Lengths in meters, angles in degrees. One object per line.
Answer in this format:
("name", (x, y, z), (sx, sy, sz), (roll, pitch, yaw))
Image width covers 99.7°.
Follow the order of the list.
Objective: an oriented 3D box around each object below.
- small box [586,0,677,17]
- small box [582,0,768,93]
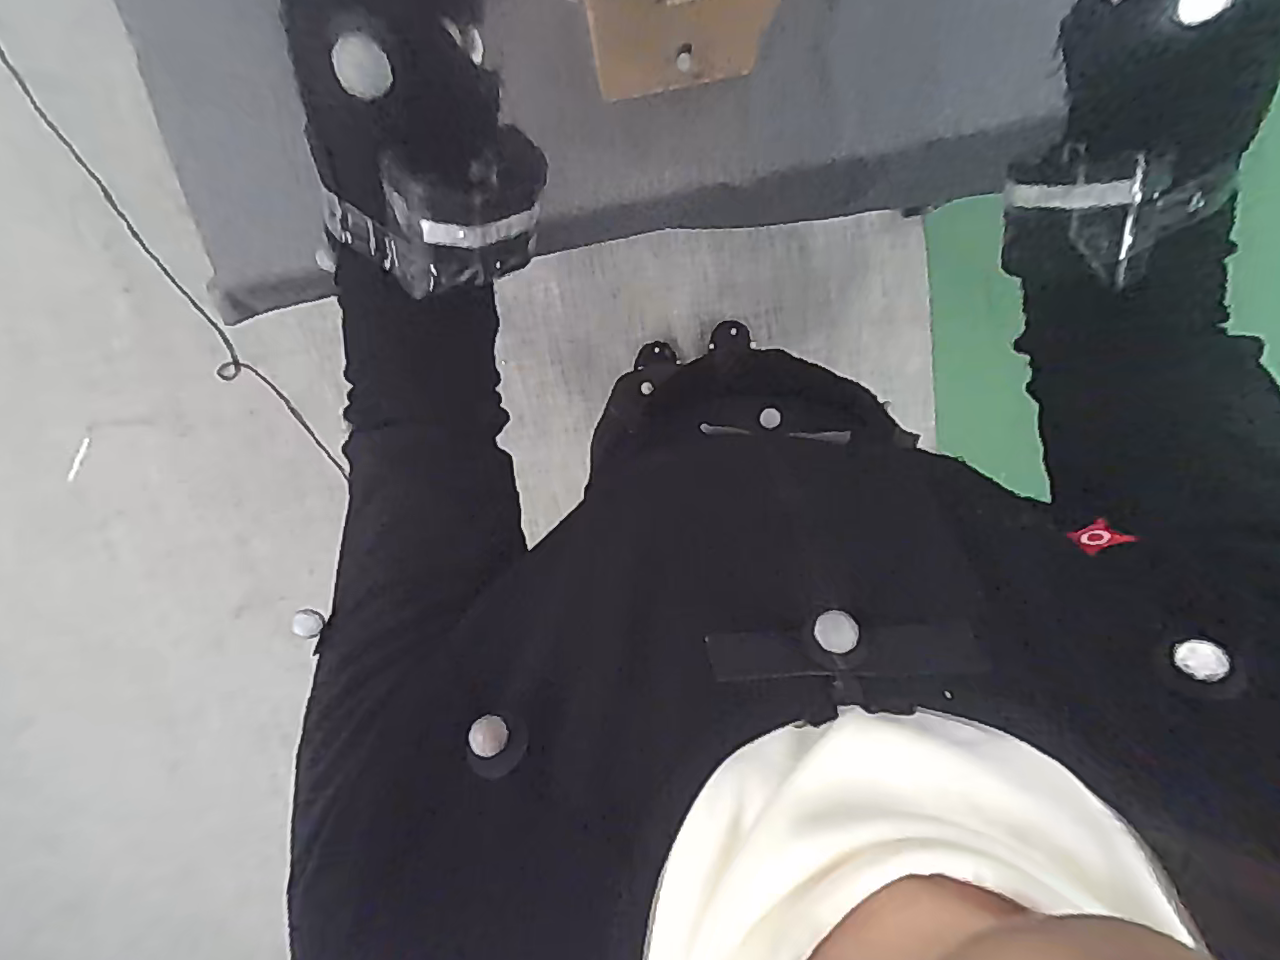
("small box", (0.030, -0.441, 0.332), (0.179, 0.176, 0.168), (-13, 103, 2))
("small box", (0.023, -0.487, 0.491), (0.168, 0.176, 0.179), (-10, 104, 2))
